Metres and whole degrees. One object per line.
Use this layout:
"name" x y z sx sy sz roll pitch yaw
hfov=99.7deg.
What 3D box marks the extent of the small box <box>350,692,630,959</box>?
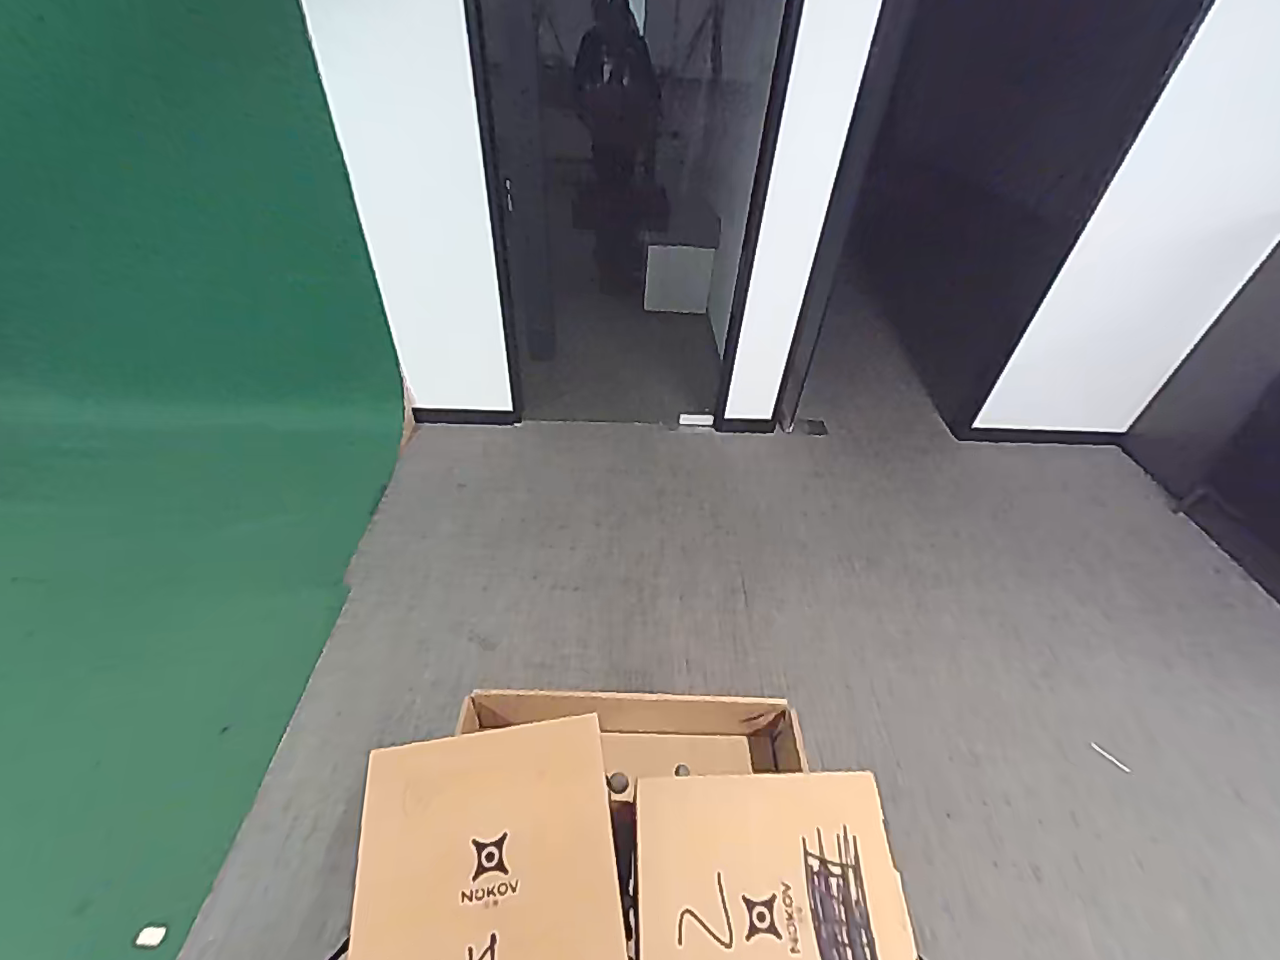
"small box" -0.102 0.287 0.420 0.168 0.176 0.179 -6 54 -8
